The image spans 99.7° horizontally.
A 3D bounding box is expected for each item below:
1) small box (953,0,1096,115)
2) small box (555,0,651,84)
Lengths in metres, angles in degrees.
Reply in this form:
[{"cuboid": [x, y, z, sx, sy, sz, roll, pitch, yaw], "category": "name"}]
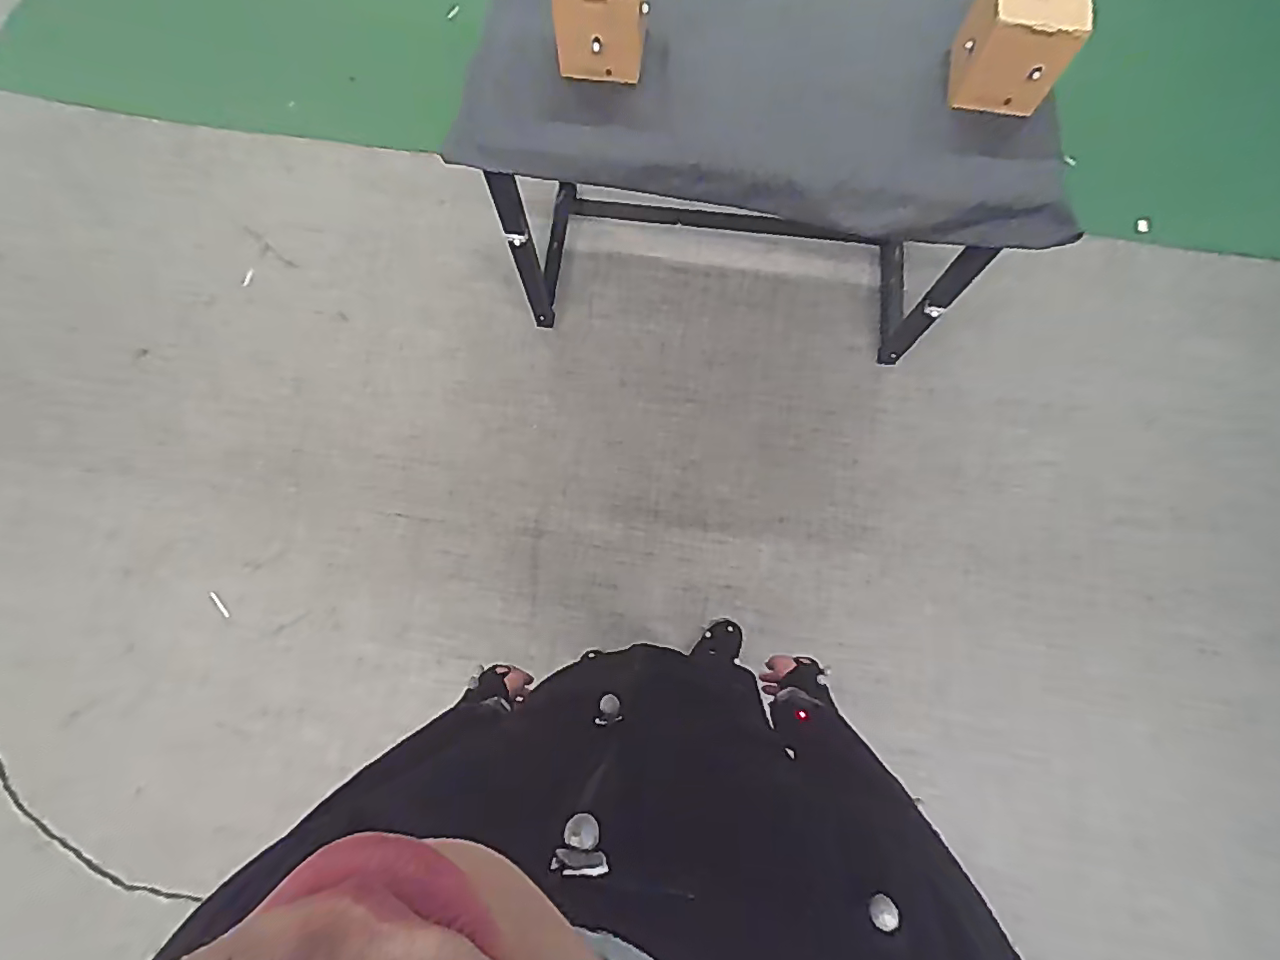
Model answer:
[{"cuboid": [0.736, -0.853, 1.050, 0.168, 0.176, 0.179, 10, 74, 3], "category": "small box"}, {"cuboid": [-0.067, -0.941, 1.087, 0.168, 0.176, 0.179, 6, 75, 2], "category": "small box"}]
